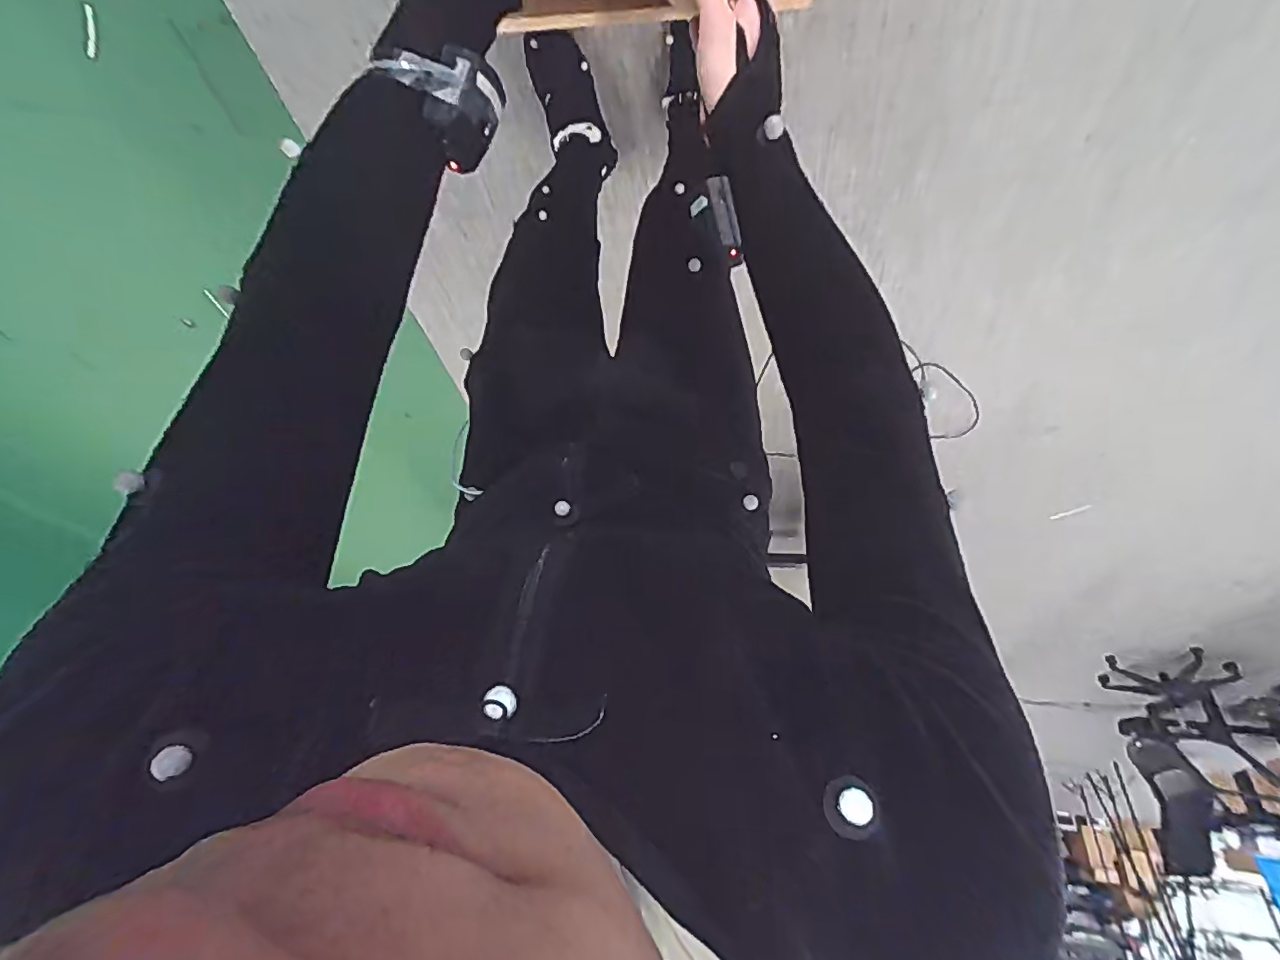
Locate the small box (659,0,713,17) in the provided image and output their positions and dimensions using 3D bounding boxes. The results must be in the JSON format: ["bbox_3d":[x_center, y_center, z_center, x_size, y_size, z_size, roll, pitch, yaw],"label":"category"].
[{"bbox_3d":[0.035,-0.510,0.414,0.168,0.176,0.179,29,120,-21],"label":"small box"}]
